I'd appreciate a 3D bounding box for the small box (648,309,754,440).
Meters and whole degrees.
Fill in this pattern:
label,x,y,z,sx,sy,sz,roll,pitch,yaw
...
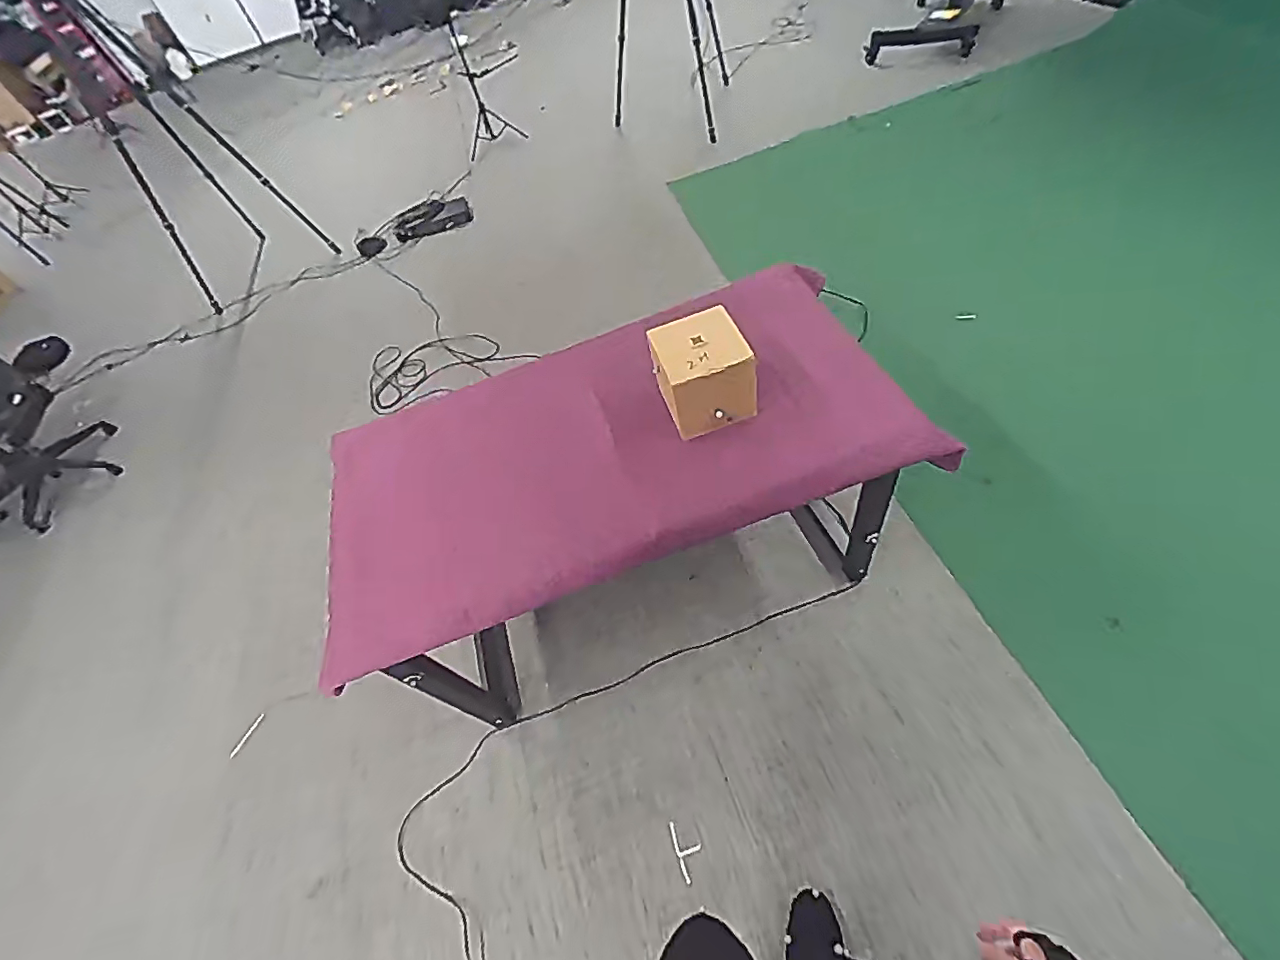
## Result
label,x,y,z,sx,sy,sz,roll,pitch,yaw
small box,0.127,-0.214,1.114,0.168,0.176,0.179,-19,53,0
